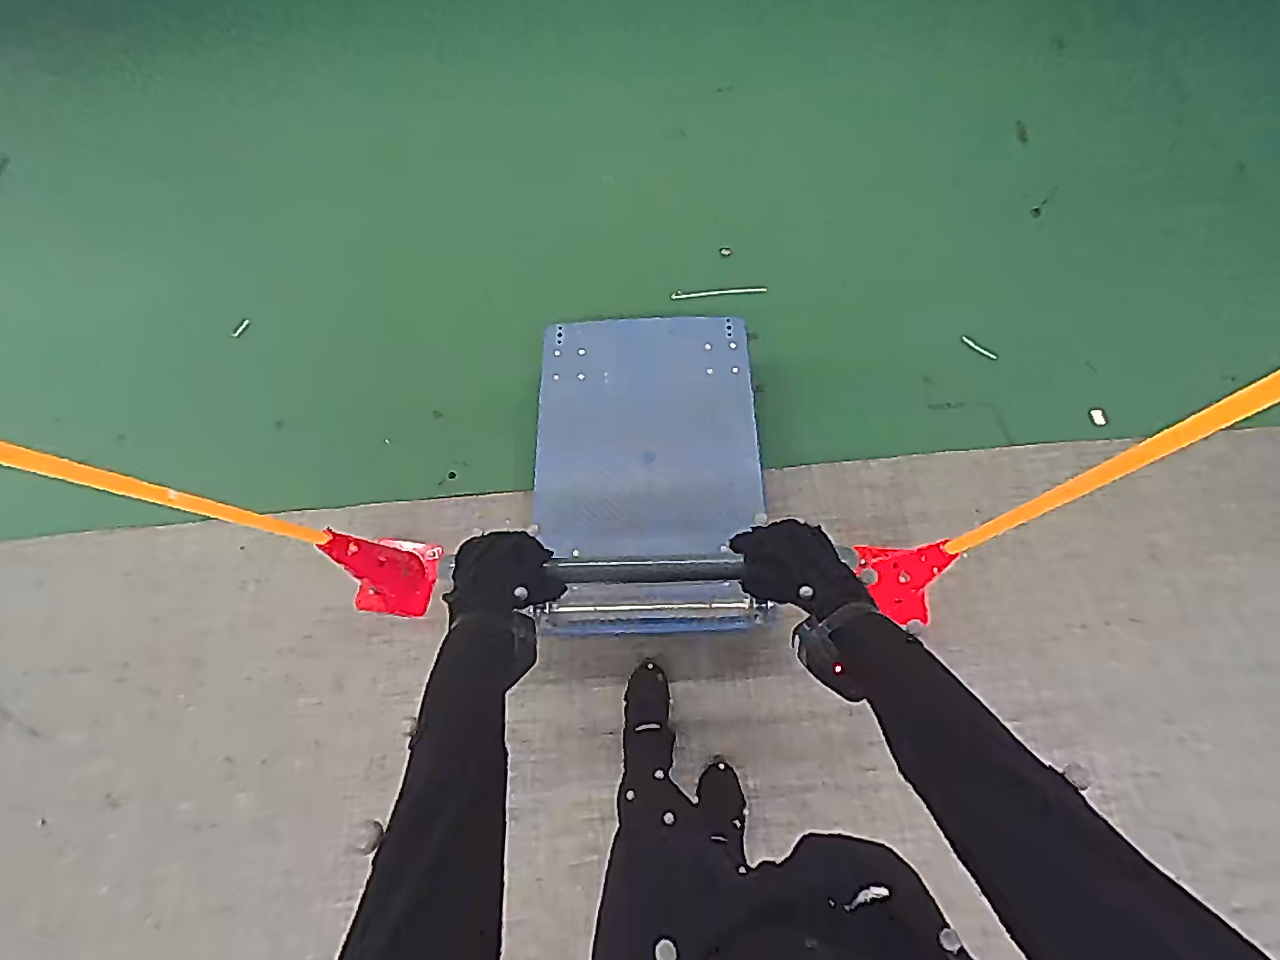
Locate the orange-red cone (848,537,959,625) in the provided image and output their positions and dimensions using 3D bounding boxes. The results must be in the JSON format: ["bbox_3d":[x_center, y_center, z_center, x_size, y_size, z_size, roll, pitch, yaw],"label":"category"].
[{"bbox_3d":[0.630,0.201,1.240,0.198,0.360,0.199,5,68,5],"label":"orange-red cone"}]
